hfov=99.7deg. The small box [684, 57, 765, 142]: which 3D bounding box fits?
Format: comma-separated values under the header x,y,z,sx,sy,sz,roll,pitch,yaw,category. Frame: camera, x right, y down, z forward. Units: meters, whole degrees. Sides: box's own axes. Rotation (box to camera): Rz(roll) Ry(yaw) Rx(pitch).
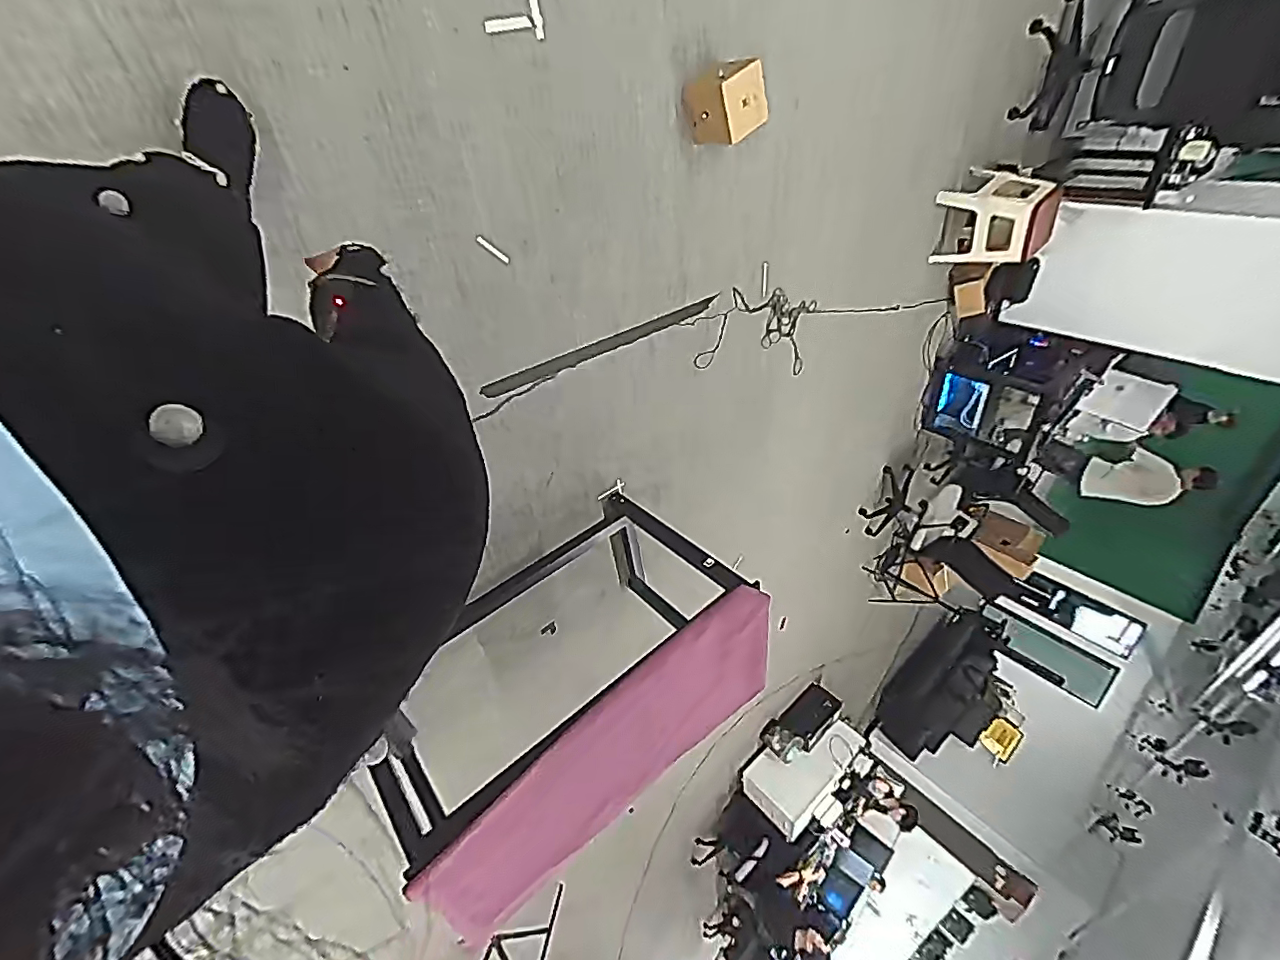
x,y,z,sx,sy,sz,roll,pitch,yaw,category
0.255,-1.166,1.665,0.179,0.176,0.168,-43,138,-16,small box
